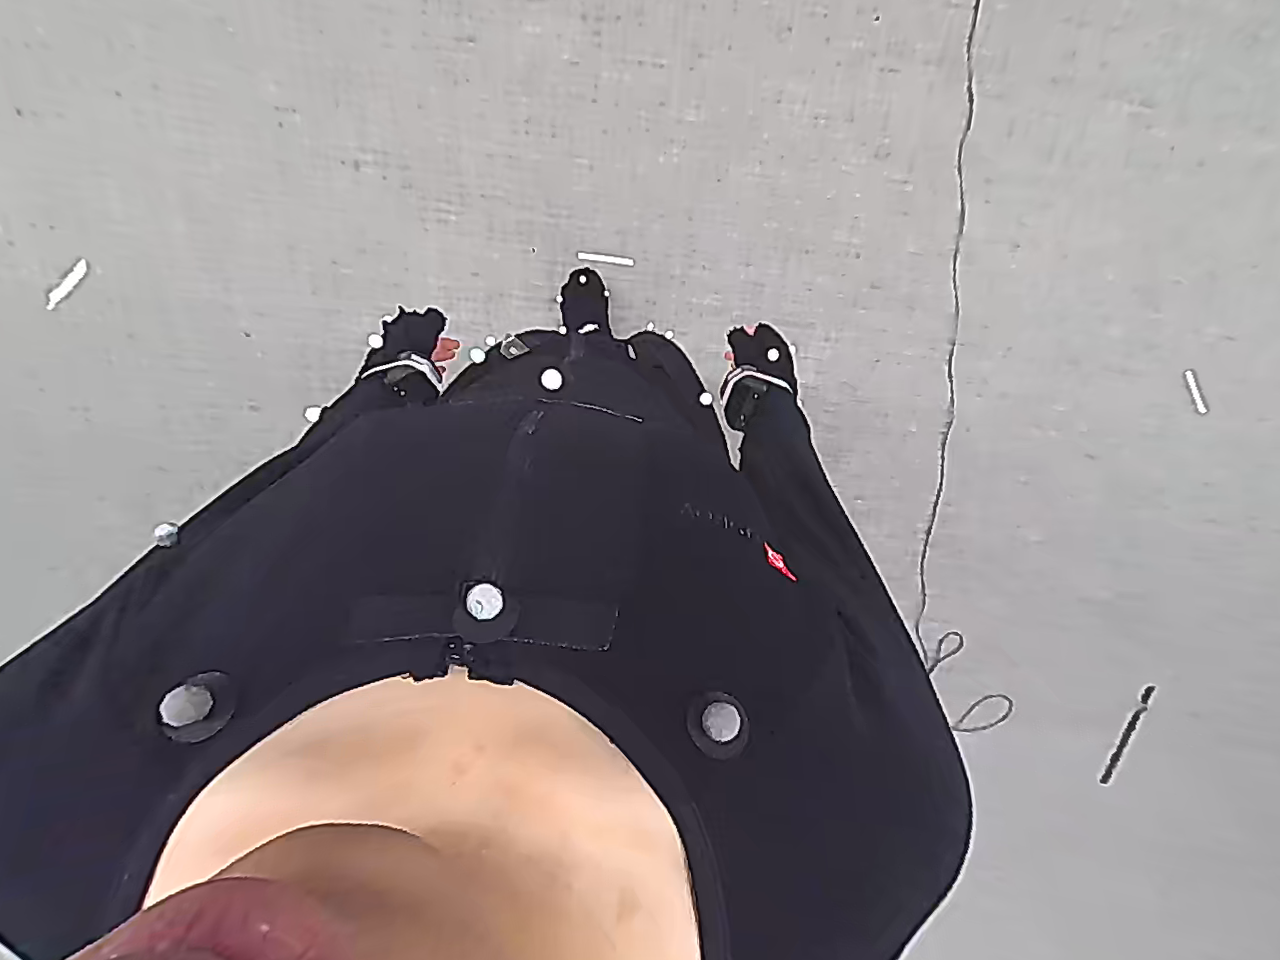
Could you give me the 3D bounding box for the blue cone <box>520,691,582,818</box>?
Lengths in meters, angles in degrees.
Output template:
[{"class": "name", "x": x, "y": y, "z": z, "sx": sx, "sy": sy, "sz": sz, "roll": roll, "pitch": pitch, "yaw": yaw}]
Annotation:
[{"class": "blue cone", "x": -0.280, "y": 0.798, "z": 1.561, "sx": 0.192, "sy": 0.380, "sz": 0.193, "roll": 3, "pitch": 106, "yaw": -1}]
